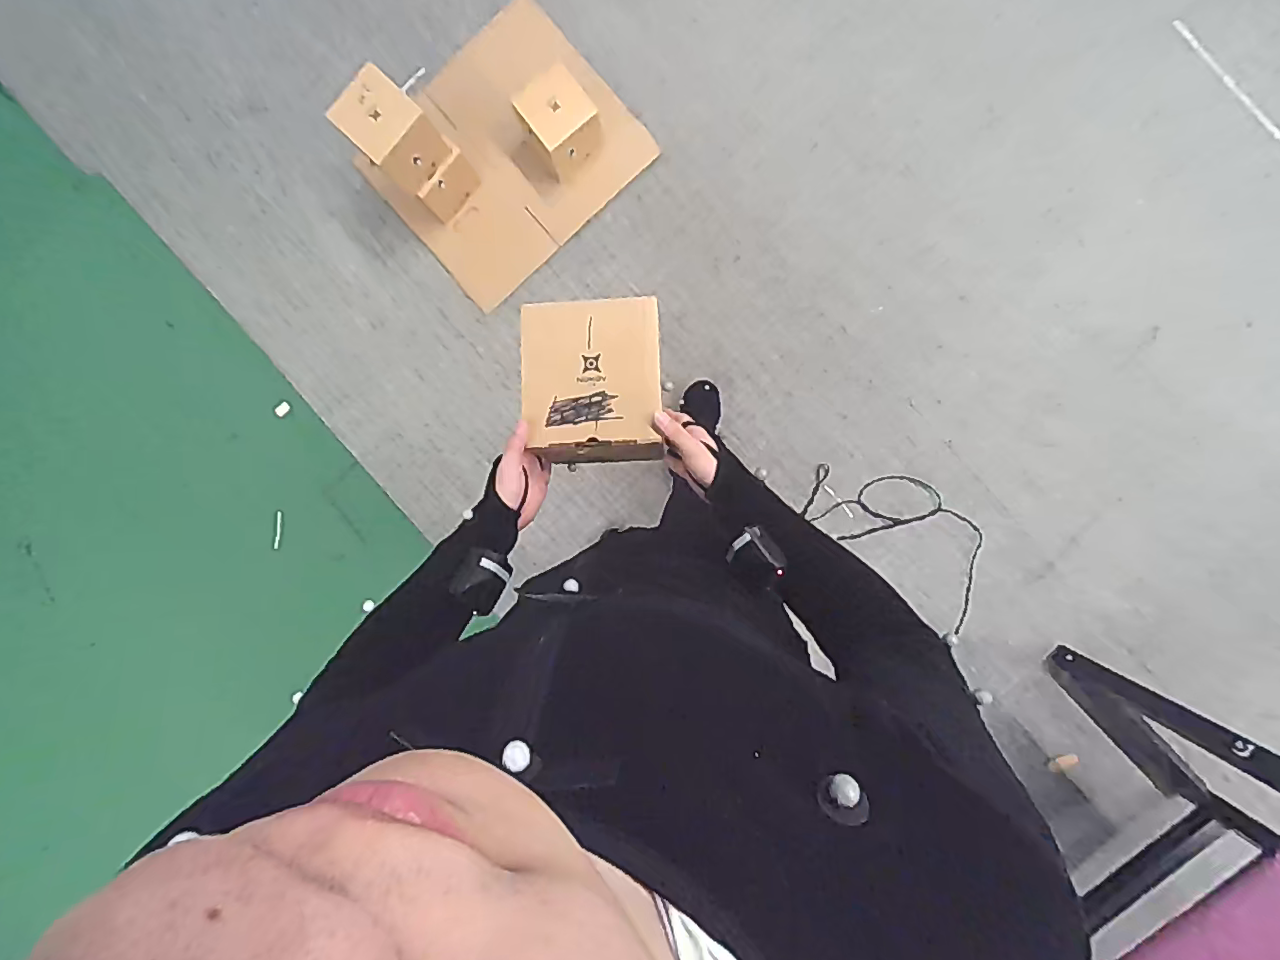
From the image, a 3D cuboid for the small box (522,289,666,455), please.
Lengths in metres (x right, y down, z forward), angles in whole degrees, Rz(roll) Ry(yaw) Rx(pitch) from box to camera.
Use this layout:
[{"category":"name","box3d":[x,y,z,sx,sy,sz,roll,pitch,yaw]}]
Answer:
[{"category":"small box","box3d":[-0.051,-0.127,0.707,0.168,0.176,0.179,-2,84,3]}]

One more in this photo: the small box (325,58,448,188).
[{"category":"small box","box3d":[-0.607,-0.855,1.322,0.179,0.176,0.168,43,94,1]}]

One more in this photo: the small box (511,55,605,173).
[{"category":"small box","box3d":[-0.211,-0.969,1.456,0.168,0.176,0.179,-38,90,5]}]

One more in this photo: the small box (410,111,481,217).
[{"category":"small box","box3d":[-0.574,-0.866,1.485,0.179,0.176,0.168,42,95,1]}]
